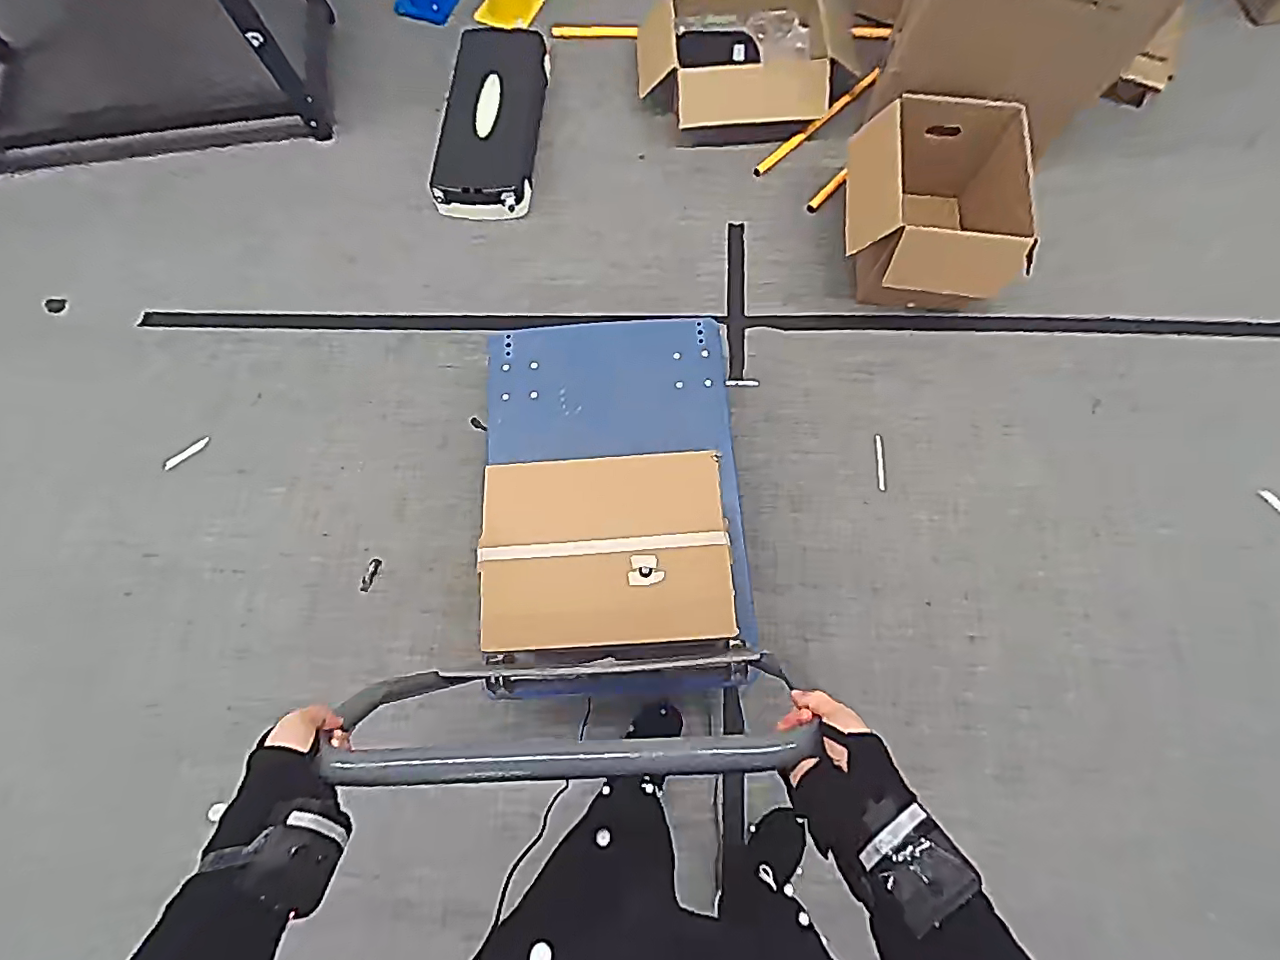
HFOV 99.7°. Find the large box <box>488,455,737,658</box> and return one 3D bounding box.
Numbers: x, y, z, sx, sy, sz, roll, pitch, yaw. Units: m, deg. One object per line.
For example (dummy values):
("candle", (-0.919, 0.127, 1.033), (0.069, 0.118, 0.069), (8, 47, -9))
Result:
("large box", (-0.052, 0.165, 1.040), (0.408, 0.320, 0.320), (-4, 72, 0))
